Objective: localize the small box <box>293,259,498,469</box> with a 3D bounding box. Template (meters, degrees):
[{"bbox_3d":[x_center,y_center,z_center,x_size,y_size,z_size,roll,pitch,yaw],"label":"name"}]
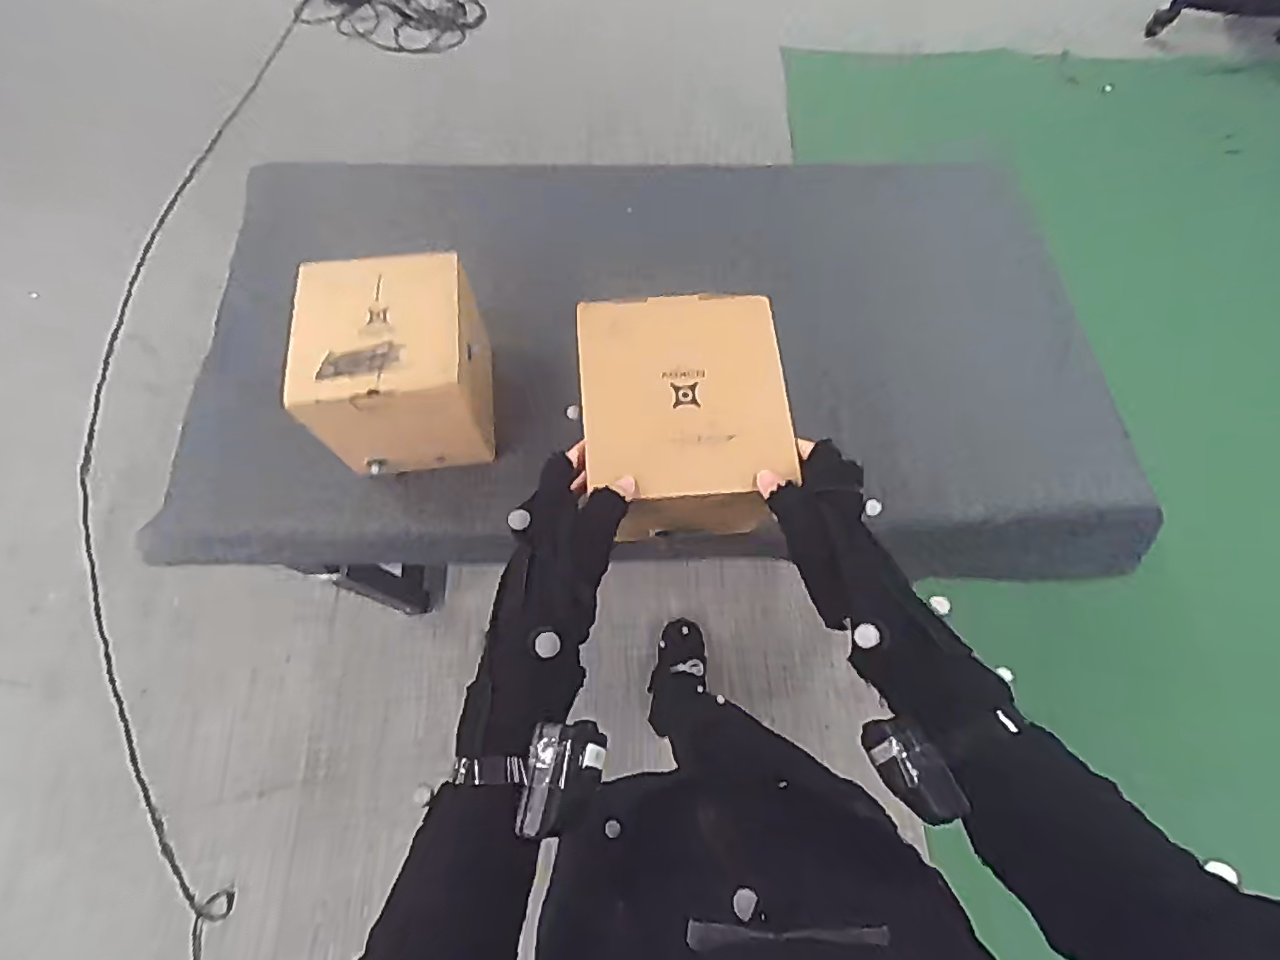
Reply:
[{"bbox_3d":[-0.264,-0.123,0.627,0.168,0.176,0.179,-6,66,-5],"label":"small box"}]

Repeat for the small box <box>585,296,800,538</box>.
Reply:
[{"bbox_3d":[0.034,-0.050,0.519,0.168,0.176,0.179,-4,74,-4],"label":"small box"}]
